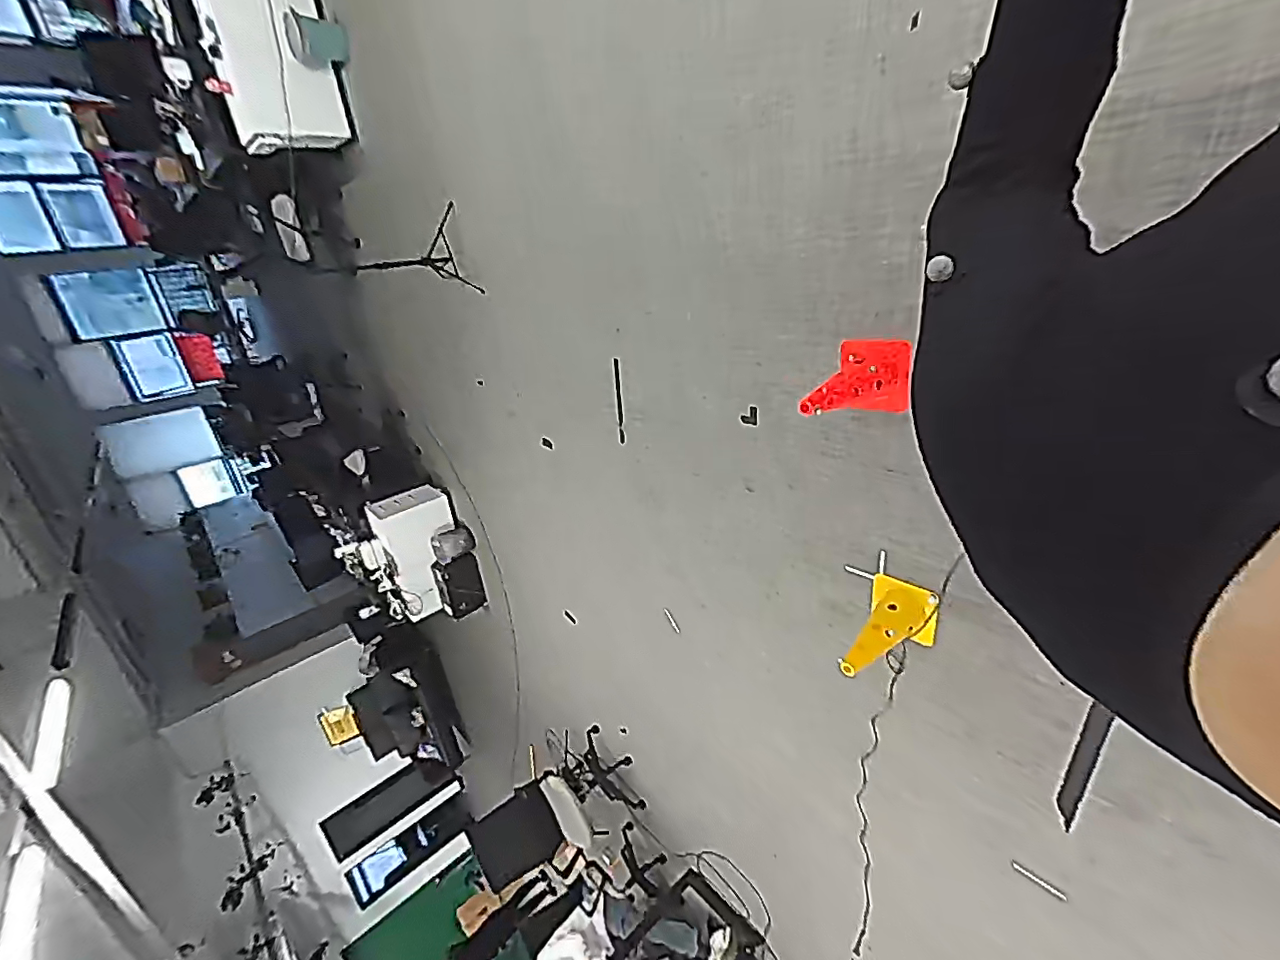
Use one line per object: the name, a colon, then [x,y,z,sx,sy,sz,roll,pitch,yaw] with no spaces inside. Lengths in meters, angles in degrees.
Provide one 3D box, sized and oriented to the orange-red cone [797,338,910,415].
orange-red cone: [0.533,-0.236,1.426,0.198,0.360,0.199,18,125,46]
